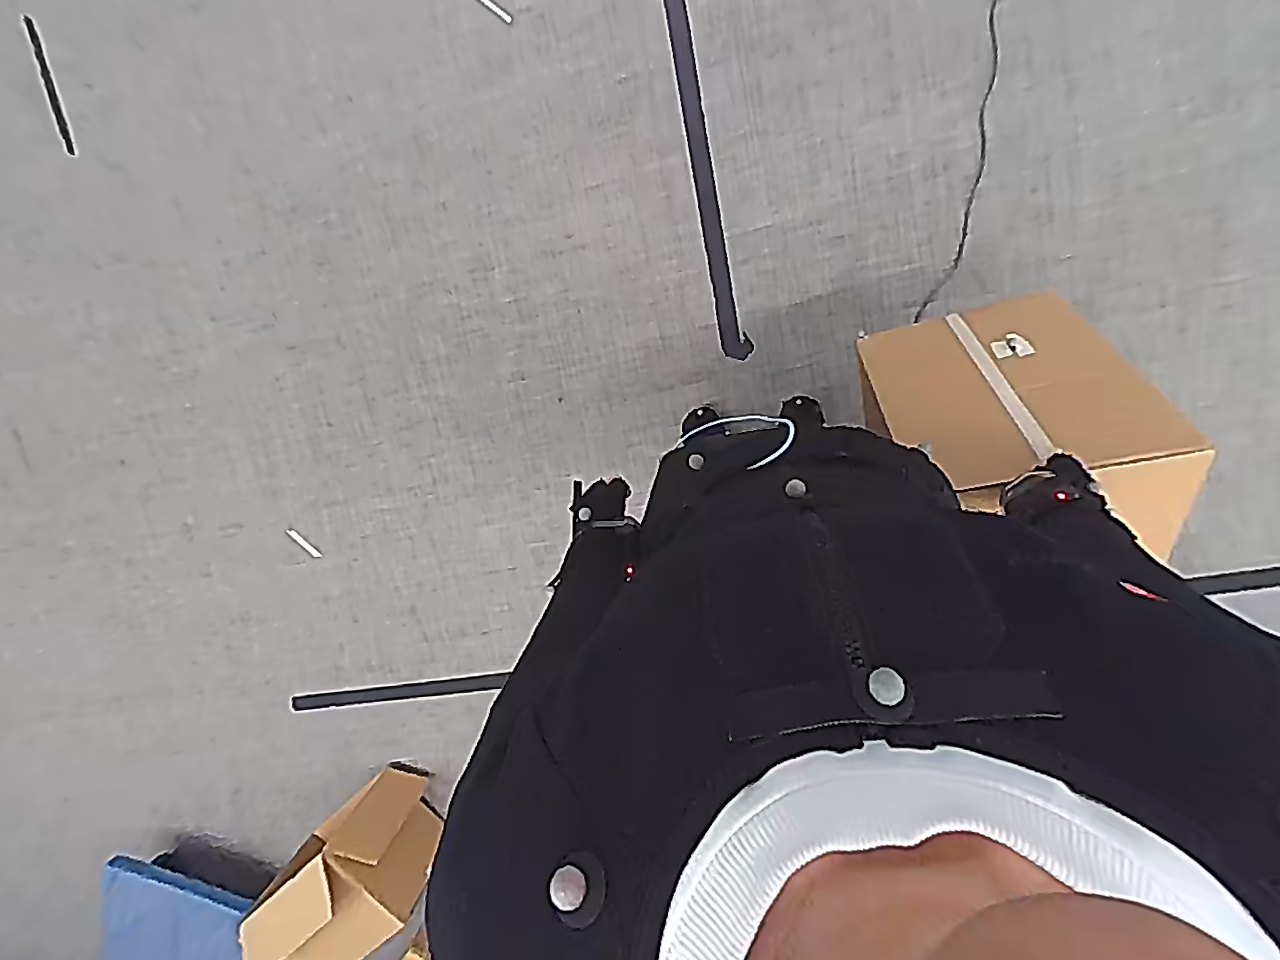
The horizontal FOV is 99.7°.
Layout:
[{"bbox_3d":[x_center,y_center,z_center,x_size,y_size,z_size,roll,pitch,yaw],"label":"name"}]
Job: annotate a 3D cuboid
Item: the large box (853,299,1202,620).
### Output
[{"bbox_3d":[0.572,-0.035,0.898,0.320,0.408,0.320,-11,130,16],"label":"large box"}]
